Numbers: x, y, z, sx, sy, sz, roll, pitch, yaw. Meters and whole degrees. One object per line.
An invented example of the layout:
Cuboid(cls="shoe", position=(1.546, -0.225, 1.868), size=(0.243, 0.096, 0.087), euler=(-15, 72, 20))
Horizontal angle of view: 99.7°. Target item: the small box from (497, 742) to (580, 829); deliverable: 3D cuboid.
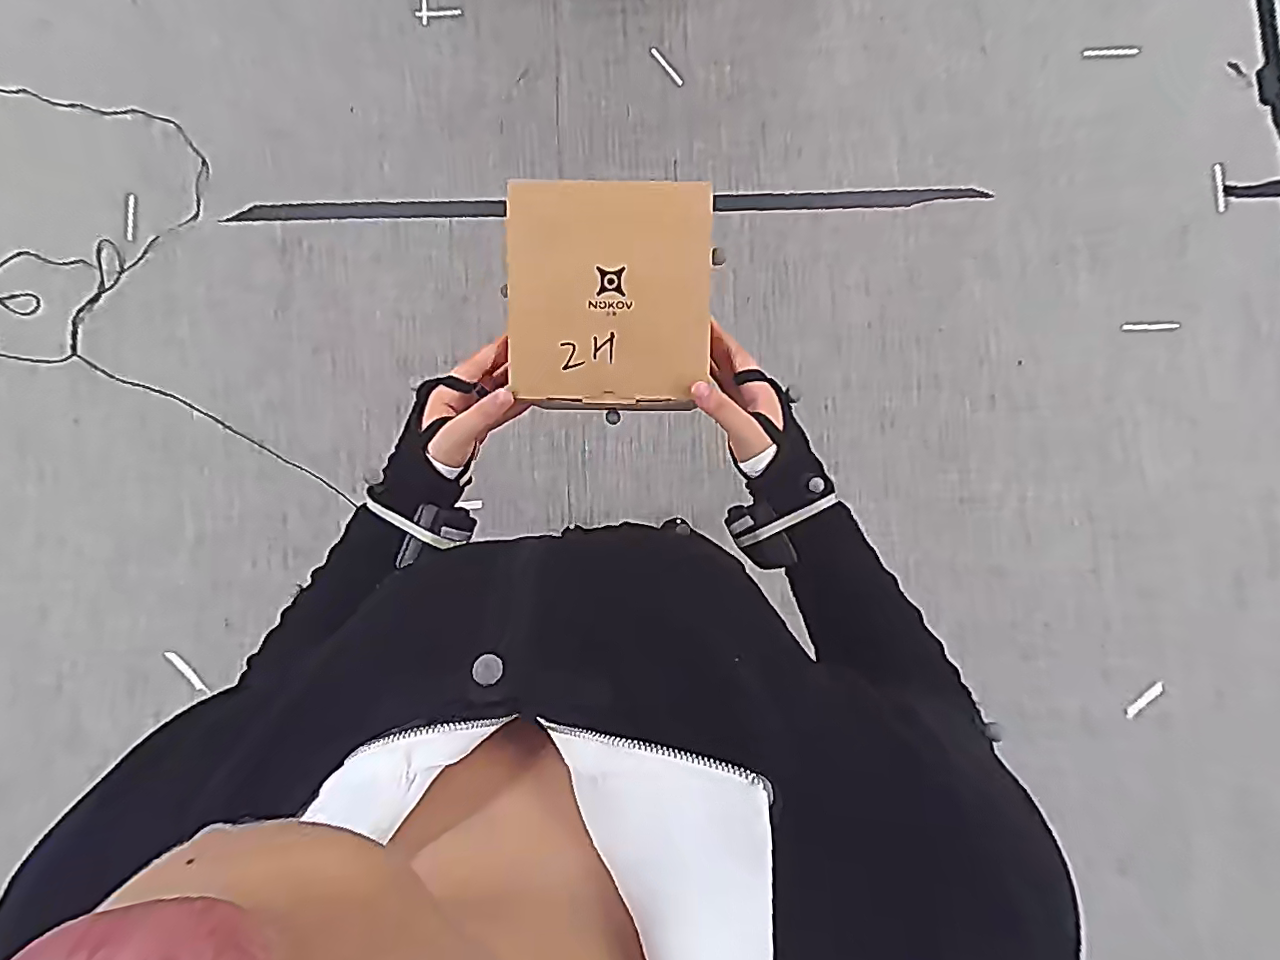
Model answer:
Cuboid(cls="small box", position=(-0.237, 0.740, 1.286), size=(0.168, 0.176, 0.179), euler=(-4, 86, 1))

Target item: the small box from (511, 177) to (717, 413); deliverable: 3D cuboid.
Cuboid(cls="small box", position=(-0.023, -0.158, 0.515), size=(0.168, 0.176, 0.179), euler=(1, 94, 0))

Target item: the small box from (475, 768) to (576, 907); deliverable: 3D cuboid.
Cuboid(cls="small box", position=(-0.231, 0.732, 1.122), size=(0.168, 0.176, 0.179), euler=(-6, 87, 0))
